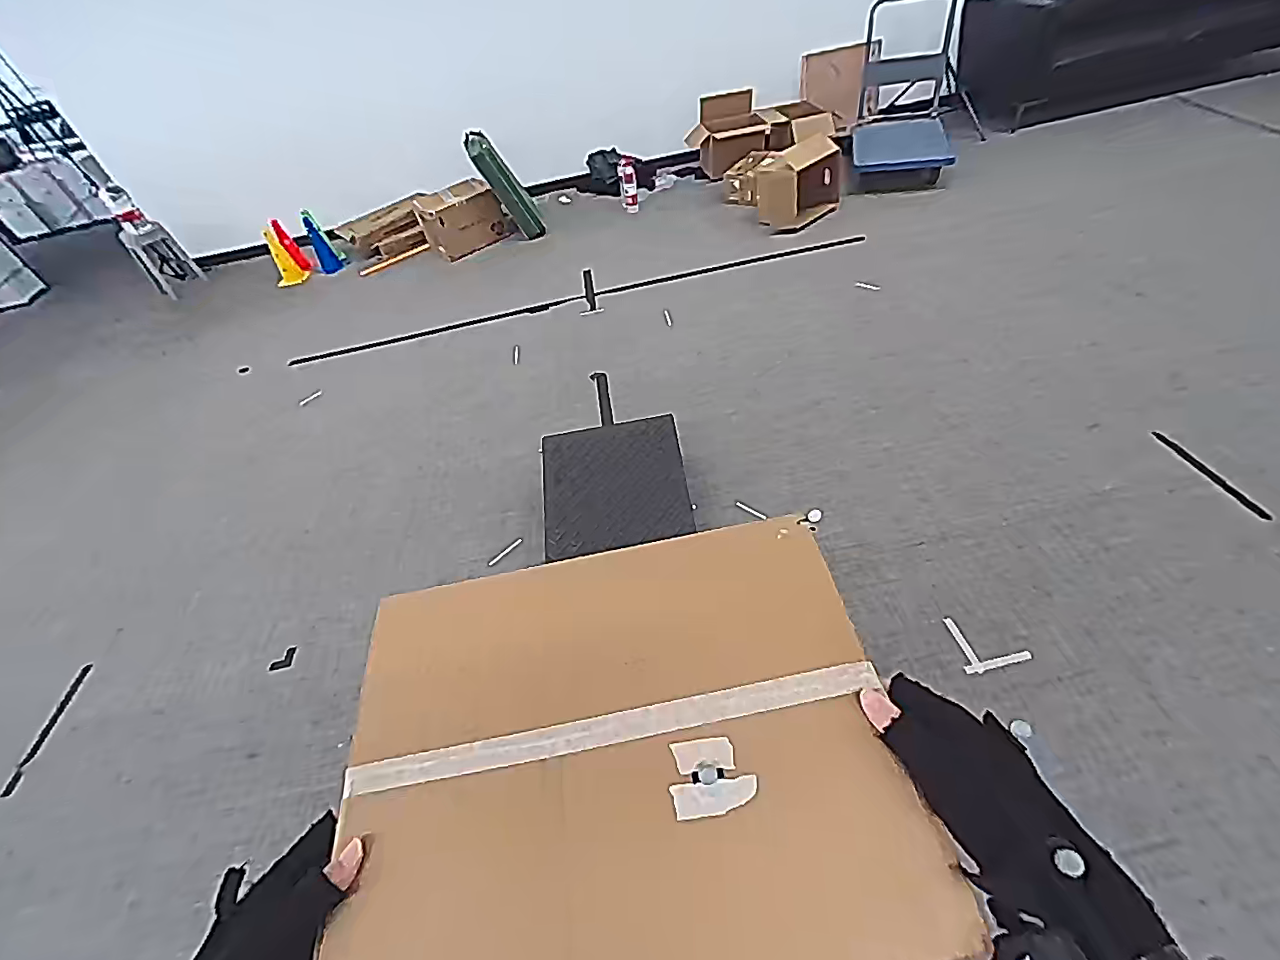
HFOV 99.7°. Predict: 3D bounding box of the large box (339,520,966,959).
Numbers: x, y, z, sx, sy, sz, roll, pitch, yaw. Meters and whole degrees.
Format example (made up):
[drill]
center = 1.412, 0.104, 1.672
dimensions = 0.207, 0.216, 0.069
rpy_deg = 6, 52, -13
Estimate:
[large box]
center = 0.001, 0.287, 0.532
dimensions = 0.408, 0.320, 0.320
rpy_deg = -12, 50, 0
